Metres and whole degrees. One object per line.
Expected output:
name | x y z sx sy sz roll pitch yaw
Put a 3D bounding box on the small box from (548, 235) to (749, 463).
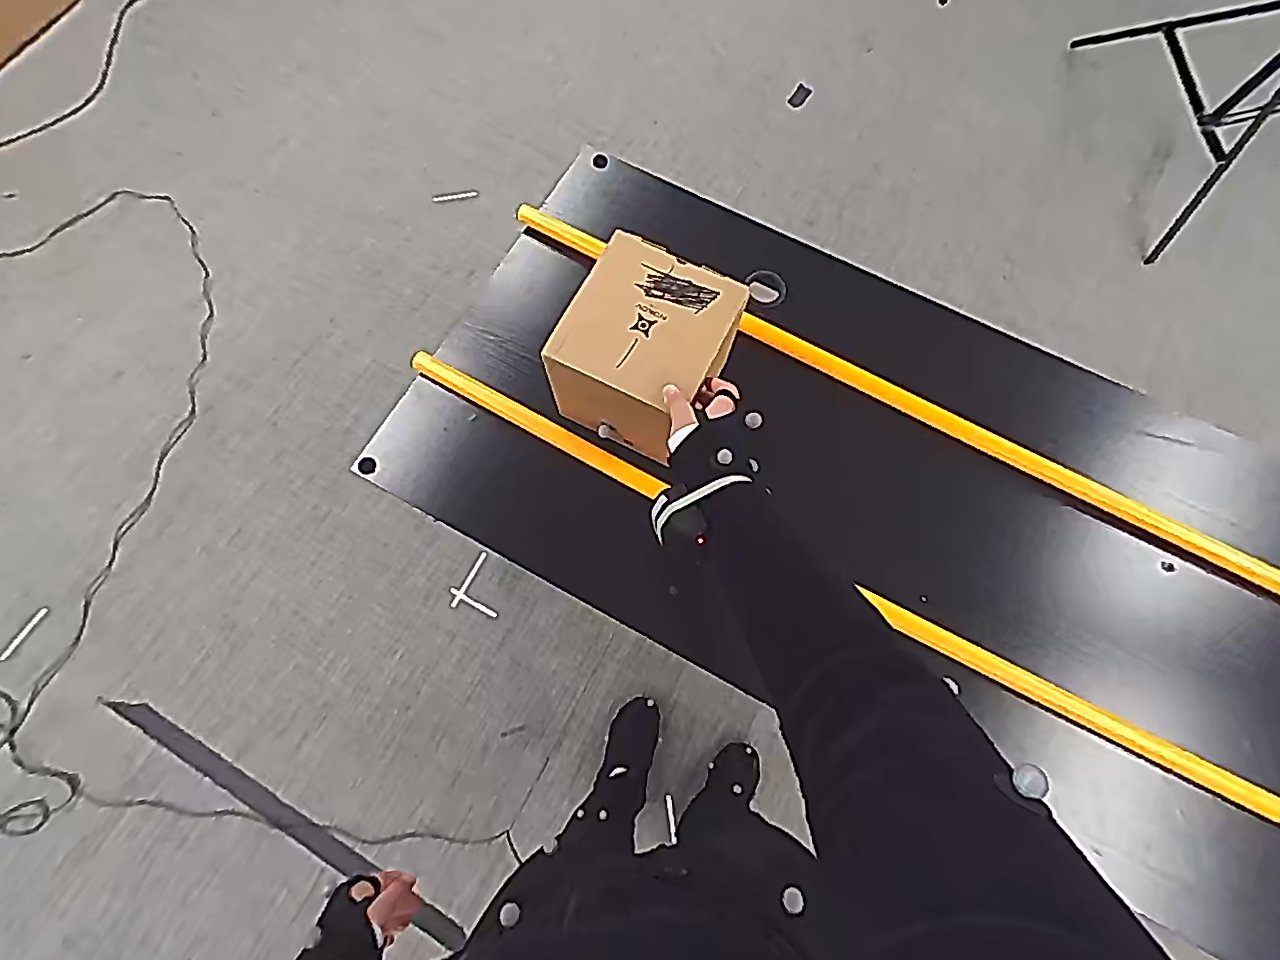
small box | 0.009 -0.147 0.658 0.168 0.176 0.179 26 76 7
